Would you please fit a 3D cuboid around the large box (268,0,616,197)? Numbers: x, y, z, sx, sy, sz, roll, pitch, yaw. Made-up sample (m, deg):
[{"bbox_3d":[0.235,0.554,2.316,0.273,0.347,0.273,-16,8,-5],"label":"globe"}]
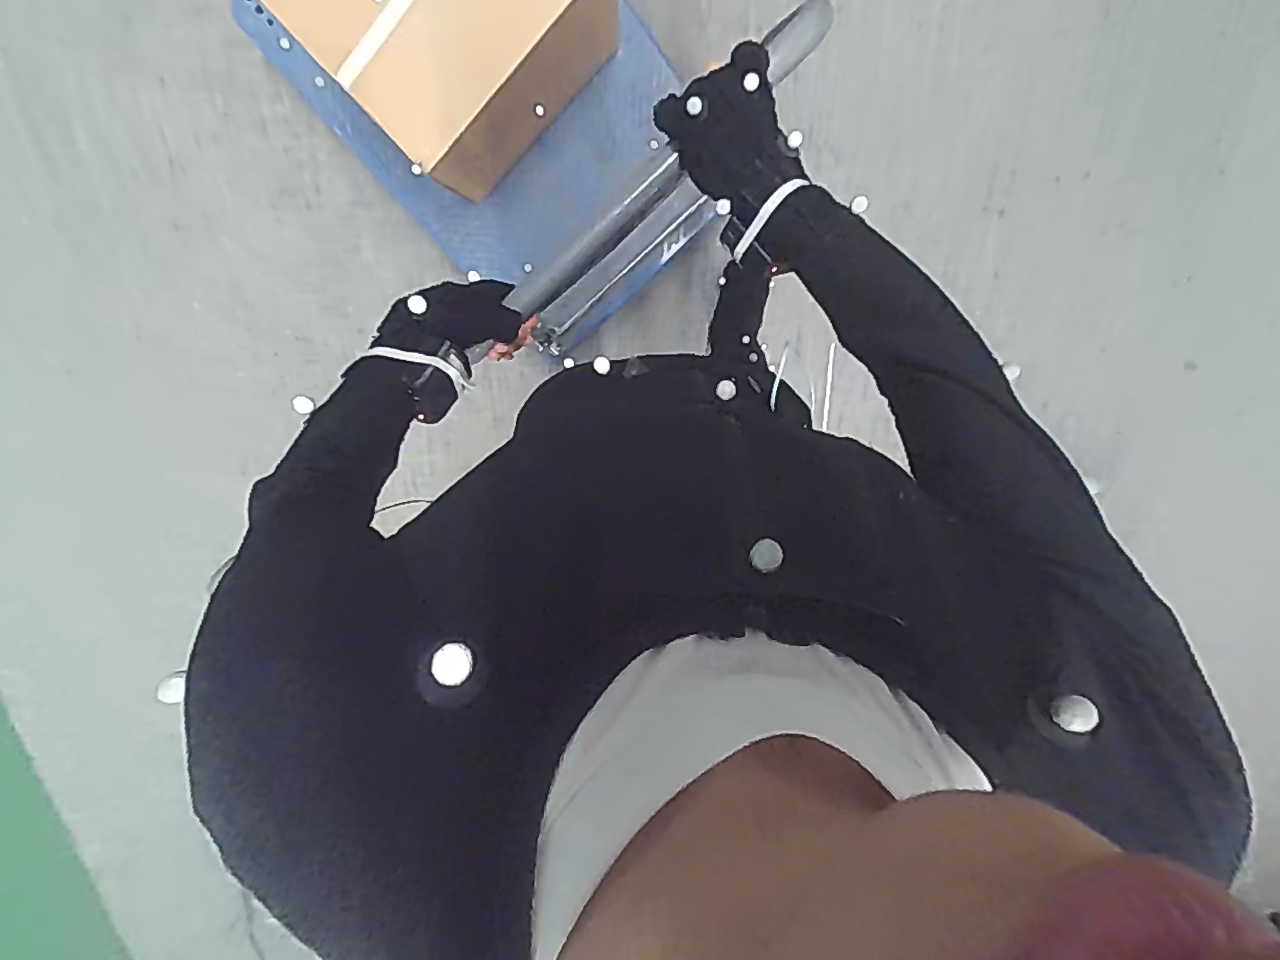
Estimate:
[{"bbox_3d":[-0.282,-0.756,0.887,0.408,0.320,0.320,-42,104,13],"label":"large box"}]
